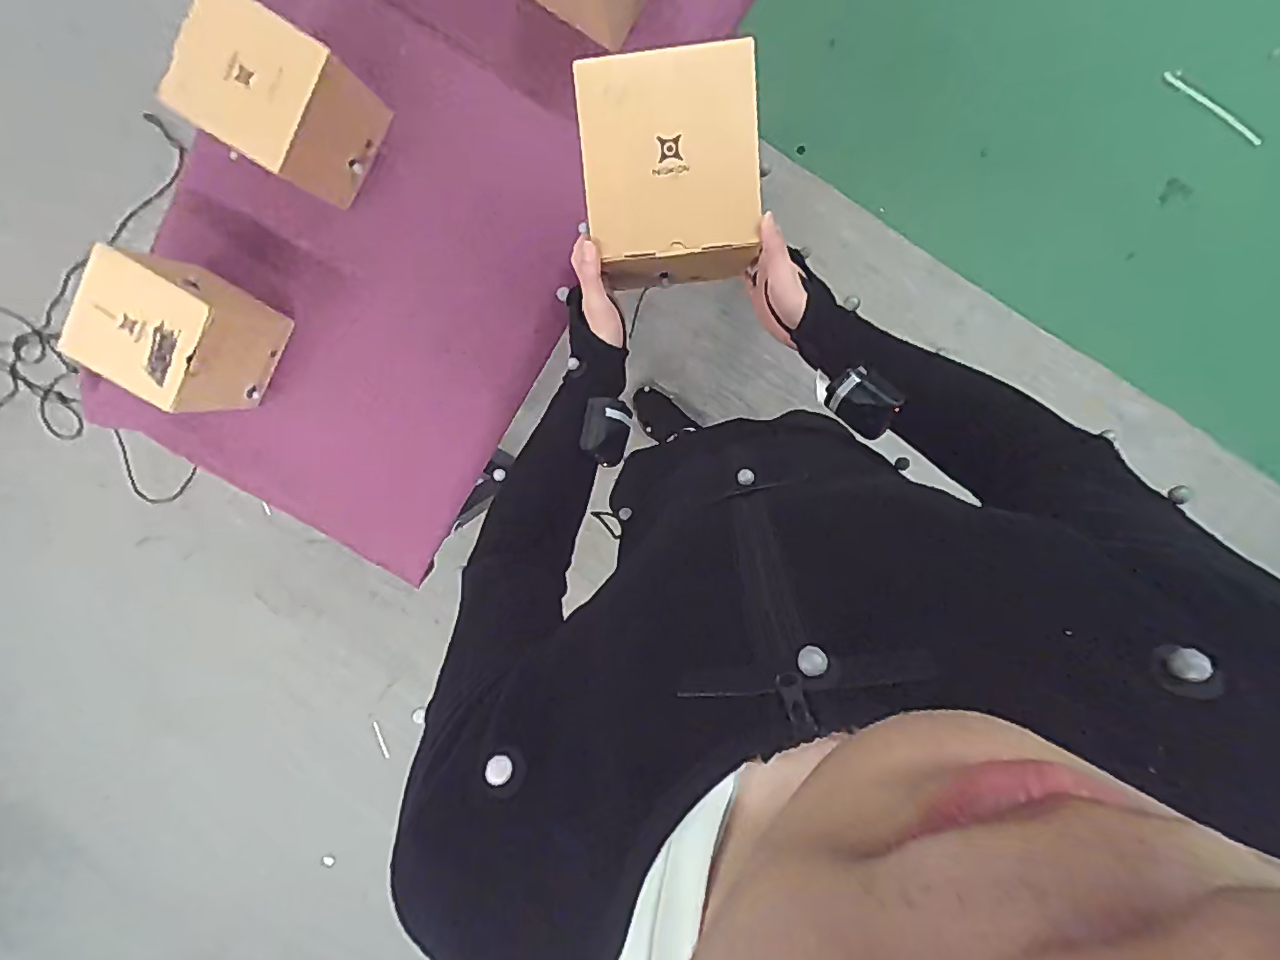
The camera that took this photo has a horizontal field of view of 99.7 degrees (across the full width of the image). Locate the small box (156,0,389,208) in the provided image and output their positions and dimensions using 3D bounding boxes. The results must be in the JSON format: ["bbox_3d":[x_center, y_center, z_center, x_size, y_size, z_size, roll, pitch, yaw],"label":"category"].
[{"bbox_3d":[-0.495,-0.515,0.754,0.179,0.176,0.168,32,100,-3],"label":"small box"}]

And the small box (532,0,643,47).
[{"bbox_3d":[-0.077,-0.719,0.693,0.179,0.176,0.168,33,101,-2],"label":"small box"}]

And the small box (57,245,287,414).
[{"bbox_3d":[-0.684,-0.216,0.812,0.179,0.176,0.168,31,99,-2],"label":"small box"}]
